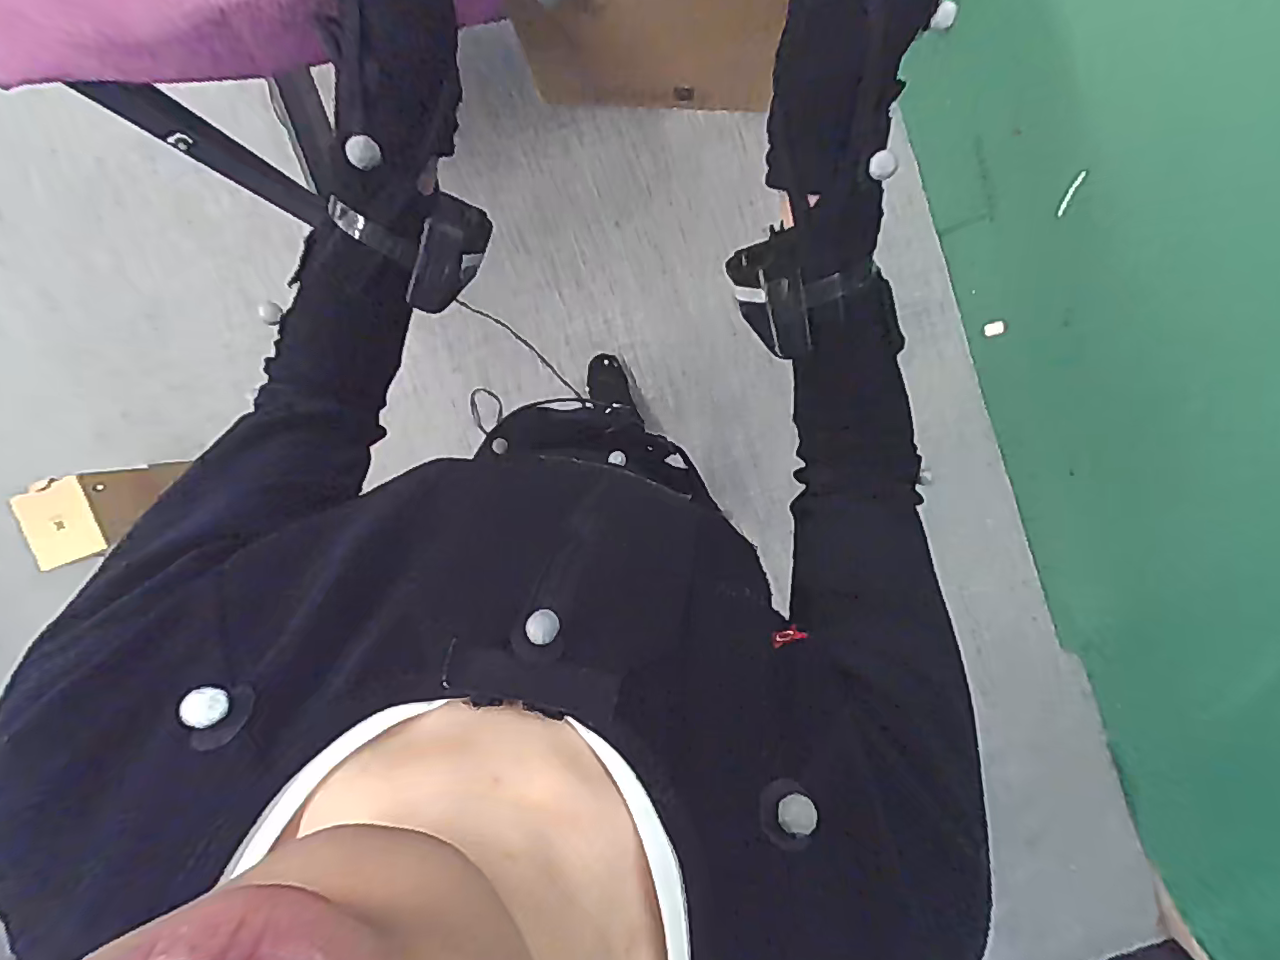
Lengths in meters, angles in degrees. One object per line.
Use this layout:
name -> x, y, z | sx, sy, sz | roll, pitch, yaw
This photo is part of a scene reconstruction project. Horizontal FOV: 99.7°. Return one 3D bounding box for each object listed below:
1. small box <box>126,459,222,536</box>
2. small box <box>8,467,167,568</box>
small box -> -1.259, 0.052, 1.411 | 0.179, 0.176, 0.168 | -20, 95, 4
small box -> -1.260, 0.079, 1.250 | 0.168, 0.176, 0.179 | -20, 94, 3
